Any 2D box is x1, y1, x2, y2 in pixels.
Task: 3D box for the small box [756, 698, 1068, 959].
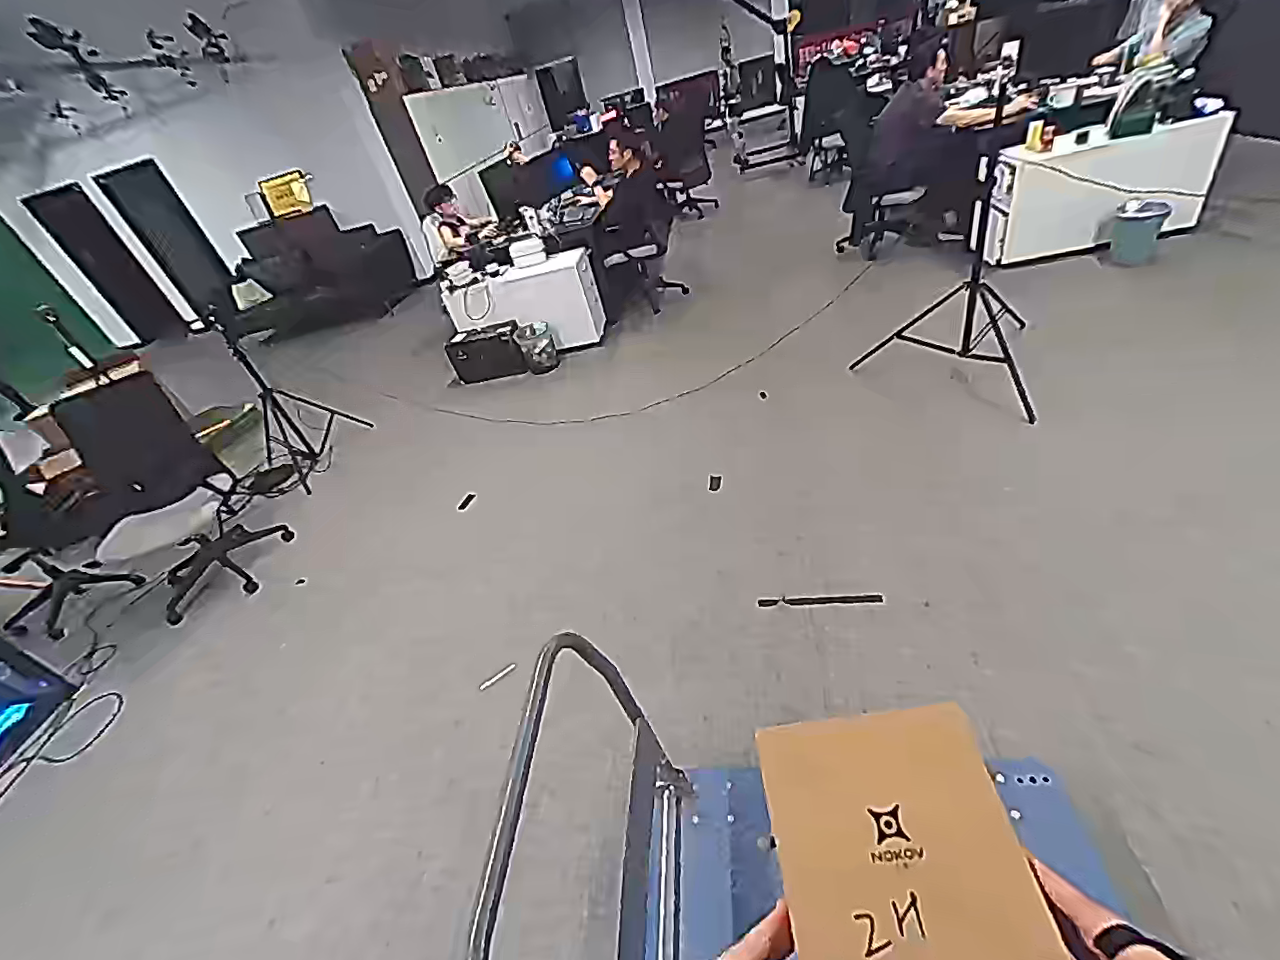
[{"bbox_3d":[0.196,0.305,0.445,0.168,0.176,0.179,-12,47,8],"label":"small box"}]
